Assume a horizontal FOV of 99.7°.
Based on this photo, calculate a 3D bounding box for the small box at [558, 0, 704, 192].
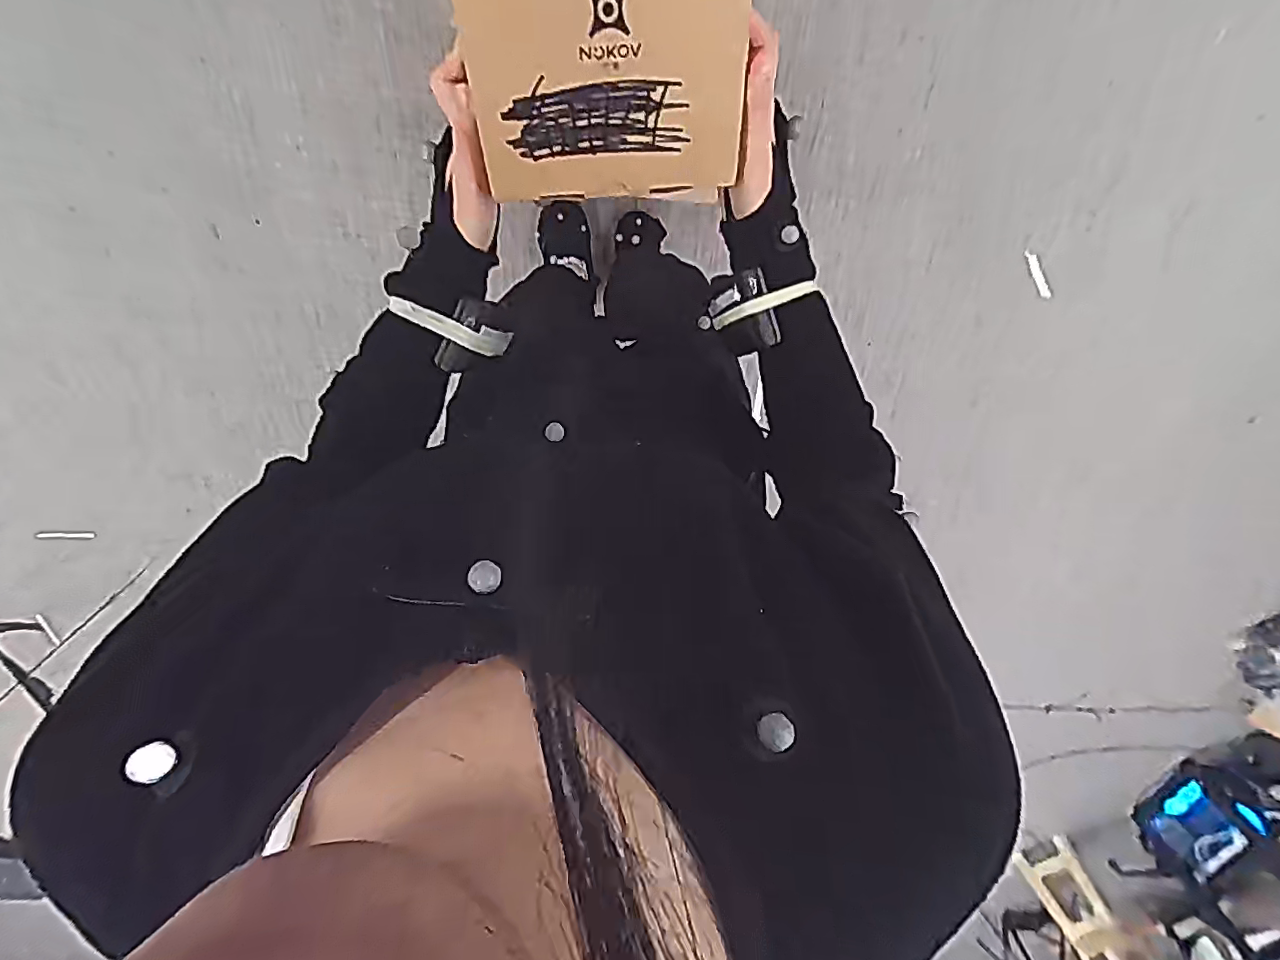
[{"bbox_3d":[-0.022,-0.487,0.704,0.168,0.176,0.179,1,124,-6],"label":"small box"}]
